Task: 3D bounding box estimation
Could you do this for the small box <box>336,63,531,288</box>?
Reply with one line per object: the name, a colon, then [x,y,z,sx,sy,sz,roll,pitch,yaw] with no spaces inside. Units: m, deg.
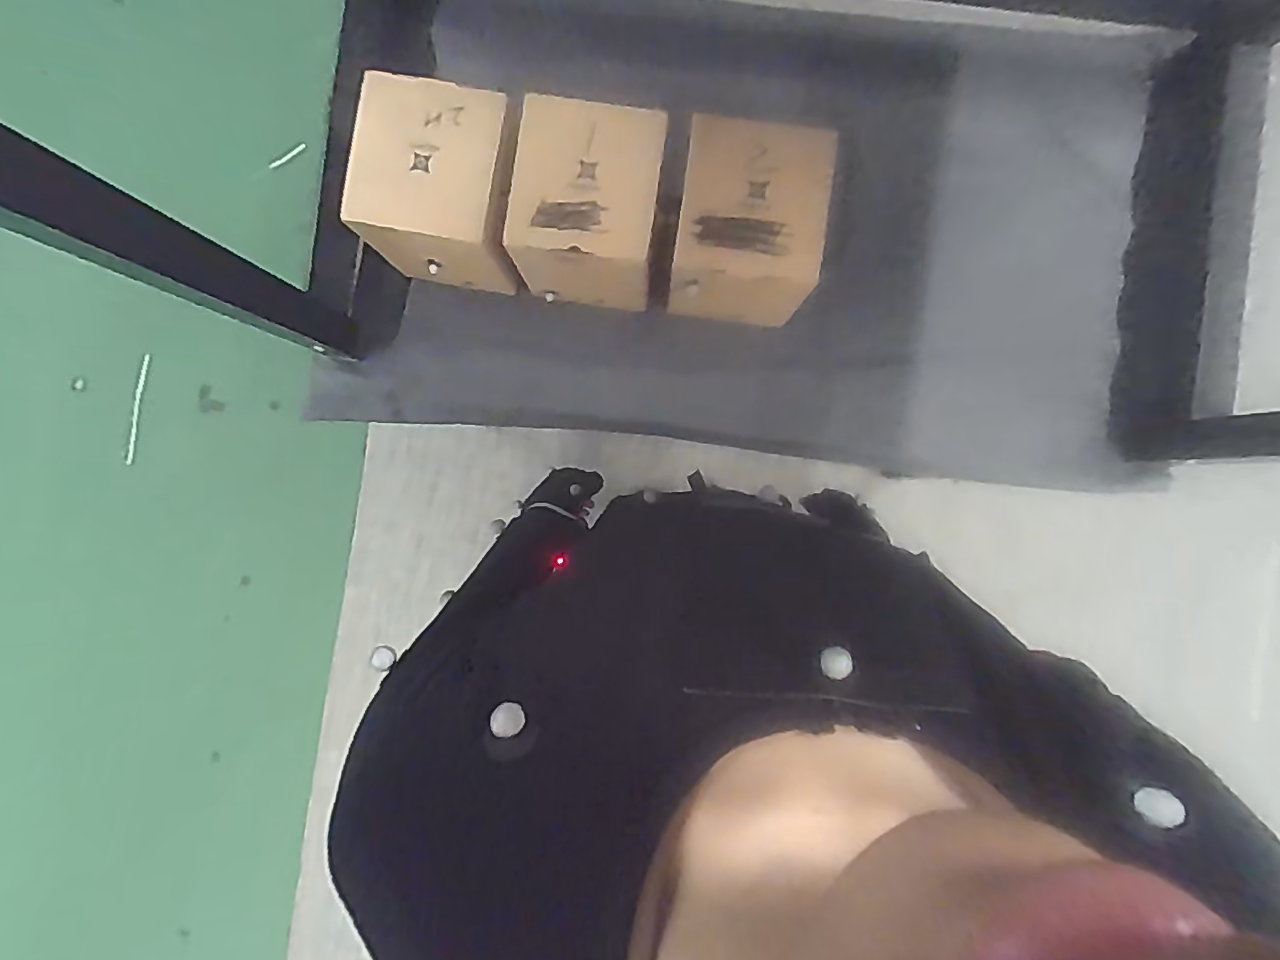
small box: [-0.243,-0.362,0.678,0.168,0.176,0.179,10,90,-1]
